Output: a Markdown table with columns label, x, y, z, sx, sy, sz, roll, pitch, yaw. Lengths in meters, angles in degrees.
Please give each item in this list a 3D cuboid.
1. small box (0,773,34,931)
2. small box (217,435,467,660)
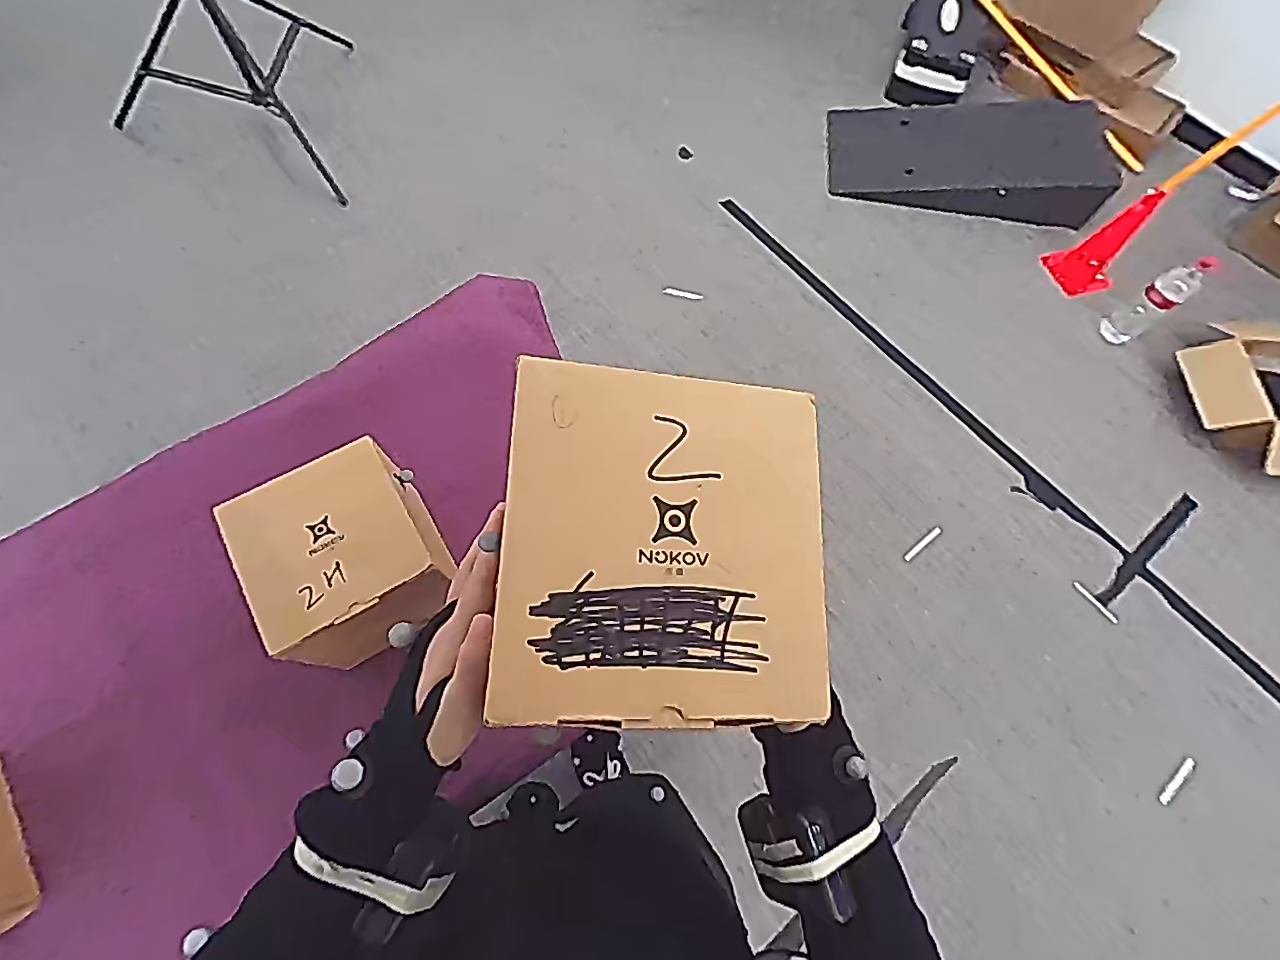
| label | x | y | z | sx | sy | sz | roll | pitch | yaw |
| --- | --- | --- | --- | --- | --- | --- | --- | --- | --- |
| small box | -0.708 | 0.375 | 0.471 | 0.168 | 0.176 | 0.179 | -34 | 73 | -17 |
| small box | -0.323 | 0.086 | 0.619 | 0.168 | 0.176 | 0.179 | -30 | 72 | -14 |
